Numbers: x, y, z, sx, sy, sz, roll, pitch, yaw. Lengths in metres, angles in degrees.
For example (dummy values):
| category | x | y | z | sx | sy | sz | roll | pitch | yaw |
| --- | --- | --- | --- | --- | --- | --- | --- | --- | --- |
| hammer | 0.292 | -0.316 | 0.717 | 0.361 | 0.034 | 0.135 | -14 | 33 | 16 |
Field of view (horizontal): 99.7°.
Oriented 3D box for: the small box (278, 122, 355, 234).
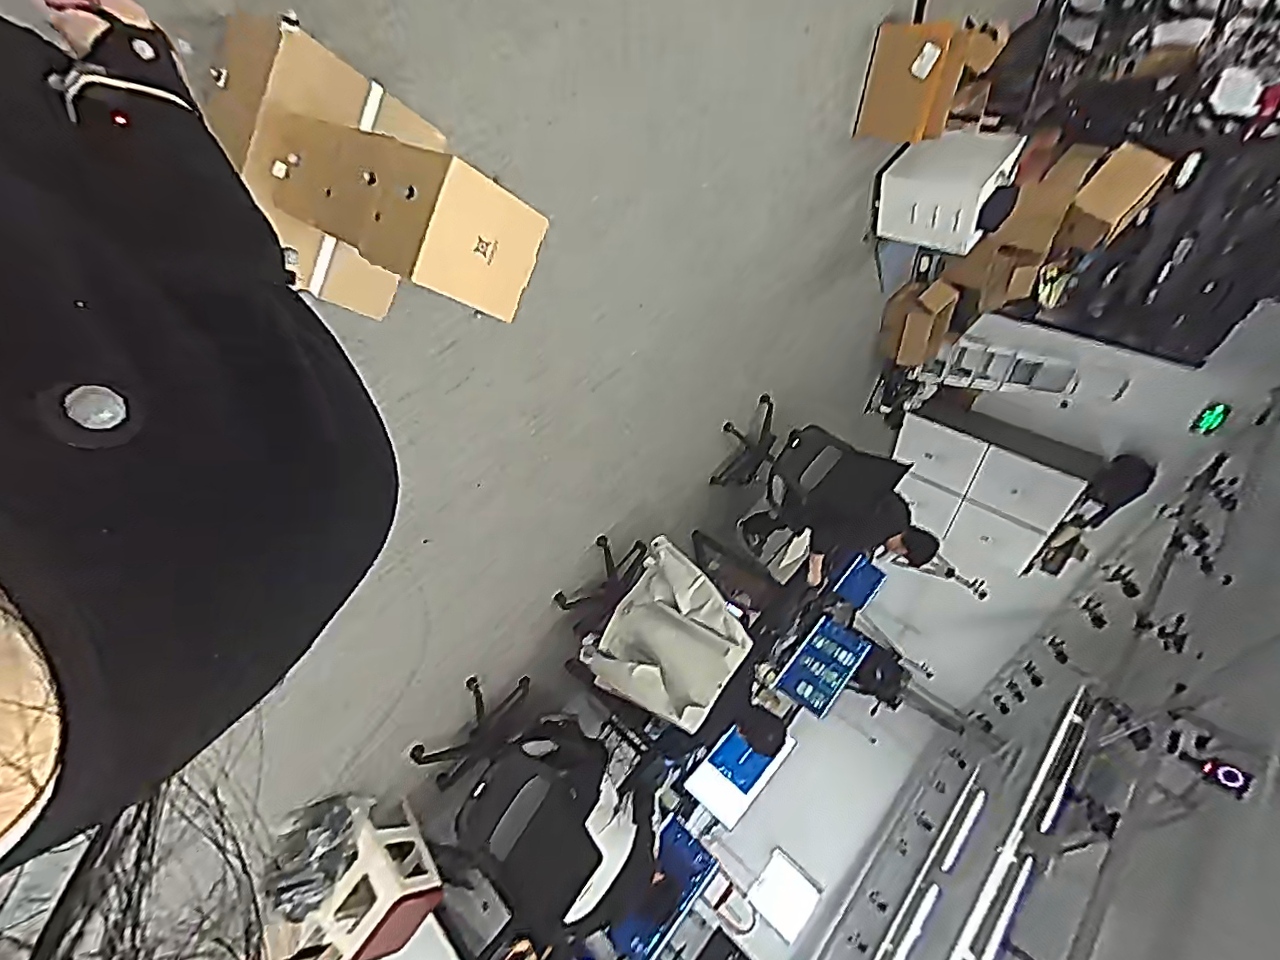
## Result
| category | x | y | z | sx | sy | sz | roll | pitch | yaw |
| --- | --- | --- | --- | --- | --- | --- | --- | --- | --- |
| small box | -0.505 | -0.510 | 0.968 | 0.179 | 0.176 | 0.168 | 8 | 110 | -55 |

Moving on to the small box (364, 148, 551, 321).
| category | x | y | z | sx | sy | sz | roll | pitch | yaw |
| --- | --- | --- | --- | --- | --- | --- | --- | --- | --- |
| small box | -0.271 | -0.359 | 0.796 | 0.179 | 0.176 | 0.168 | 7 | 110 | -56 |

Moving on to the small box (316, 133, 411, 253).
| category | x | y | z | sx | sy | sz | roll | pitch | yaw |
| --- | --- | --- | --- | --- | --- | --- | --- | --- | --- |
| small box | -0.386 | -0.435 | 0.883 | 0.179 | 0.176 | 0.168 | 8 | 110 | -56 |
